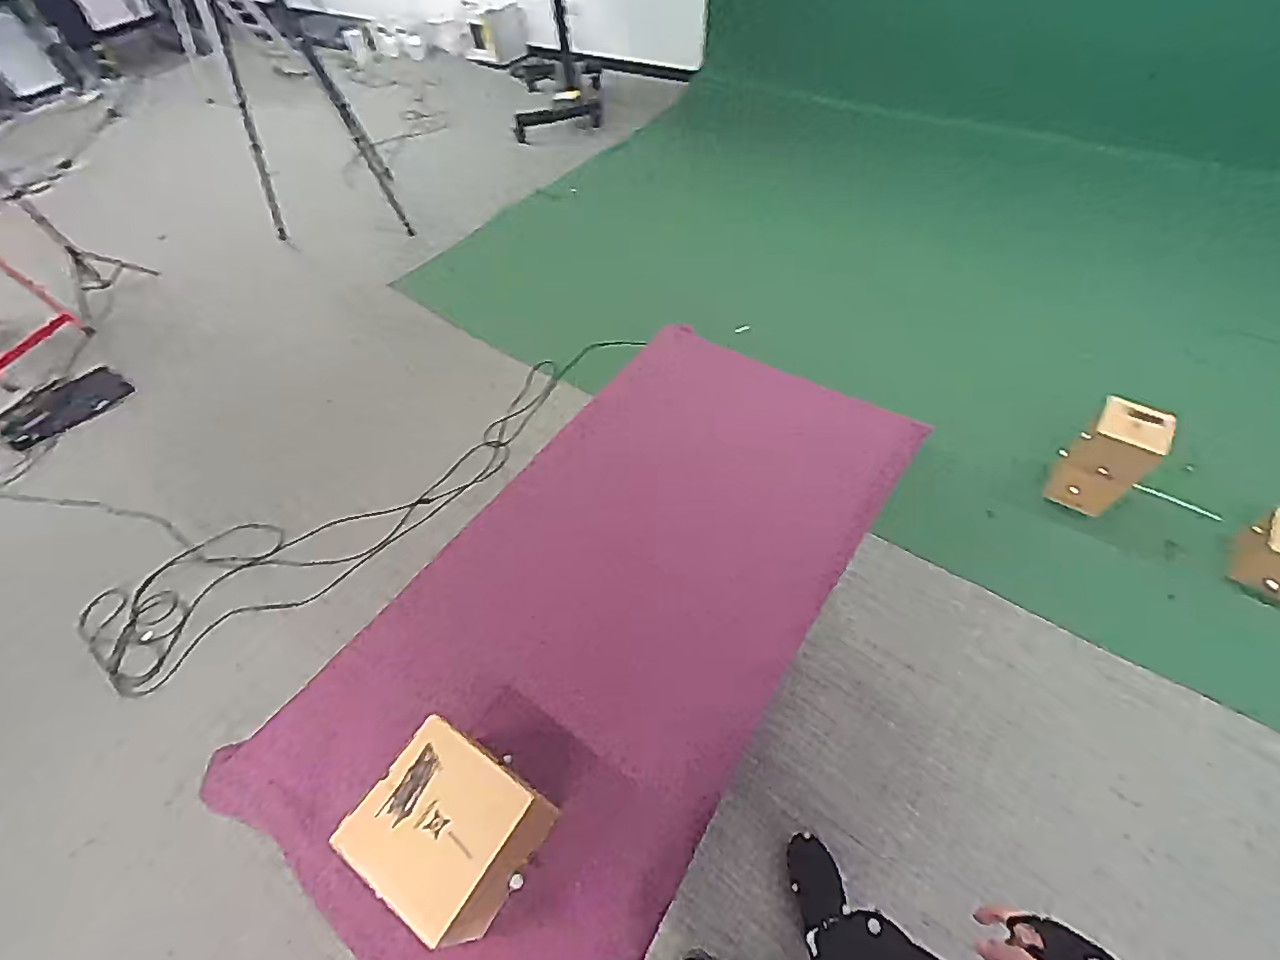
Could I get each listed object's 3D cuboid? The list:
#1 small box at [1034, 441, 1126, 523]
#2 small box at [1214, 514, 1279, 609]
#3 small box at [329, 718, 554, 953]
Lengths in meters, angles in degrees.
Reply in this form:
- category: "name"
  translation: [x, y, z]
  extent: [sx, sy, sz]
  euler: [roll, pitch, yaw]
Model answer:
- category: "small box"
  translation: [1.441, 0.011, 1.781]
  extent: [0.168, 0.176, 0.179]
  euler: [29, 60, 24]
- category: "small box"
  translation: [1.838, 0.240, 1.572]
  extent: [0.168, 0.176, 0.179]
  euler: [30, 61, 24]
- category: "small box"
  translation: [-0.232, 0.437, 0.675]
  extent: [0.179, 0.176, 0.168]
  euler: [27, 59, 21]
